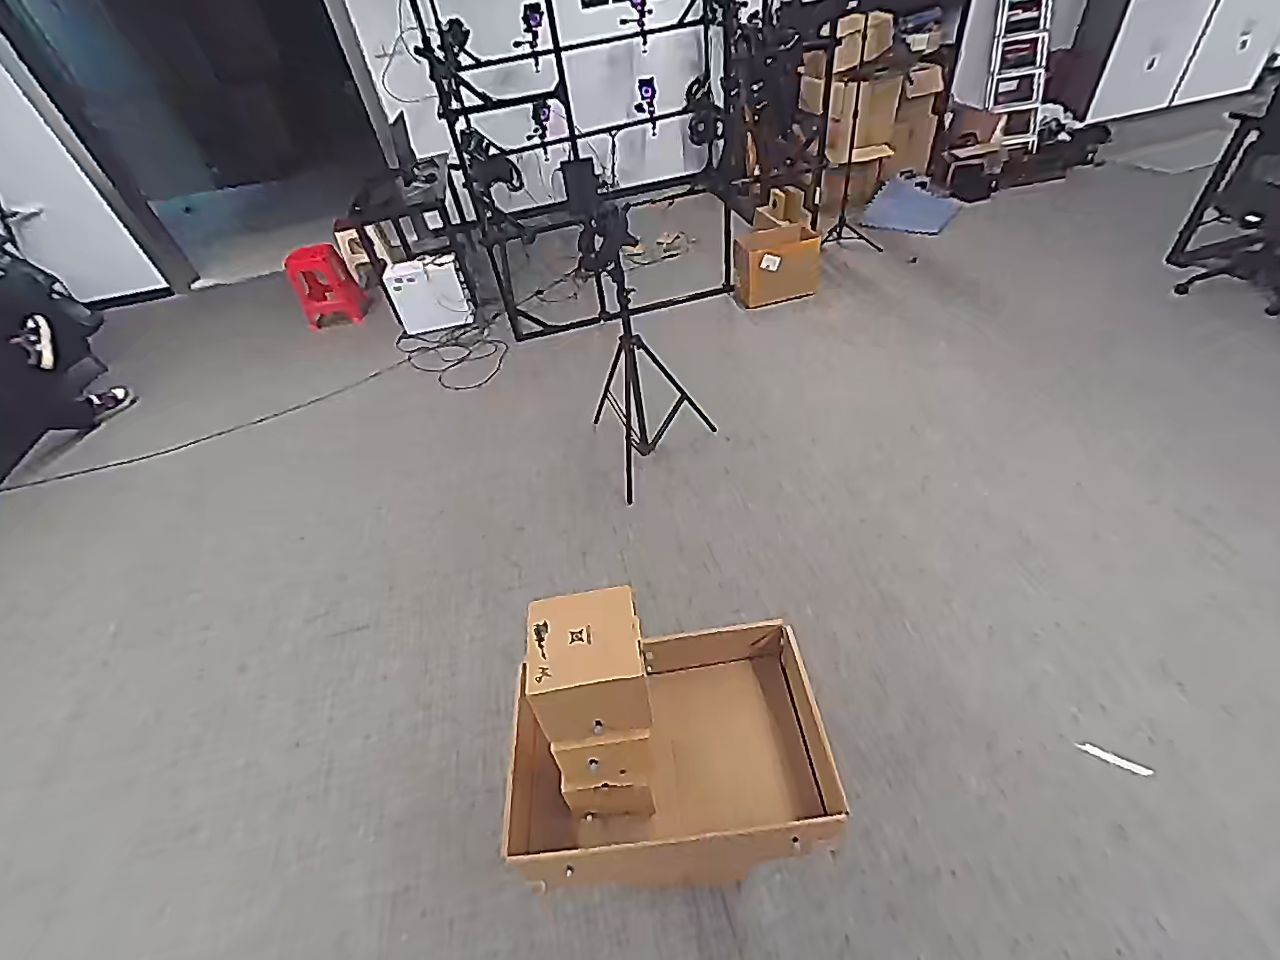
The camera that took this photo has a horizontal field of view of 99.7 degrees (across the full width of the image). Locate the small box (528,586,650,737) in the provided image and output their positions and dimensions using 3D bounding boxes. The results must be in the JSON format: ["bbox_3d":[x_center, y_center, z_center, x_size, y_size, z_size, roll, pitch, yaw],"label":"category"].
[{"bbox_3d":[-0.078,0.299,0.891,0.179,0.176,0.168,-8,42,-1],"label":"small box"}]

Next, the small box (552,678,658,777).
[{"bbox_3d":[-0.061,0.426,0.994,0.168,0.176,0.179,-8,42,0],"label":"small box"}]

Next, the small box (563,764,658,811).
[{"bbox_3d":[-0.054,0.553,1.096,0.168,0.176,0.179,-5,42,2],"label":"small box"}]
